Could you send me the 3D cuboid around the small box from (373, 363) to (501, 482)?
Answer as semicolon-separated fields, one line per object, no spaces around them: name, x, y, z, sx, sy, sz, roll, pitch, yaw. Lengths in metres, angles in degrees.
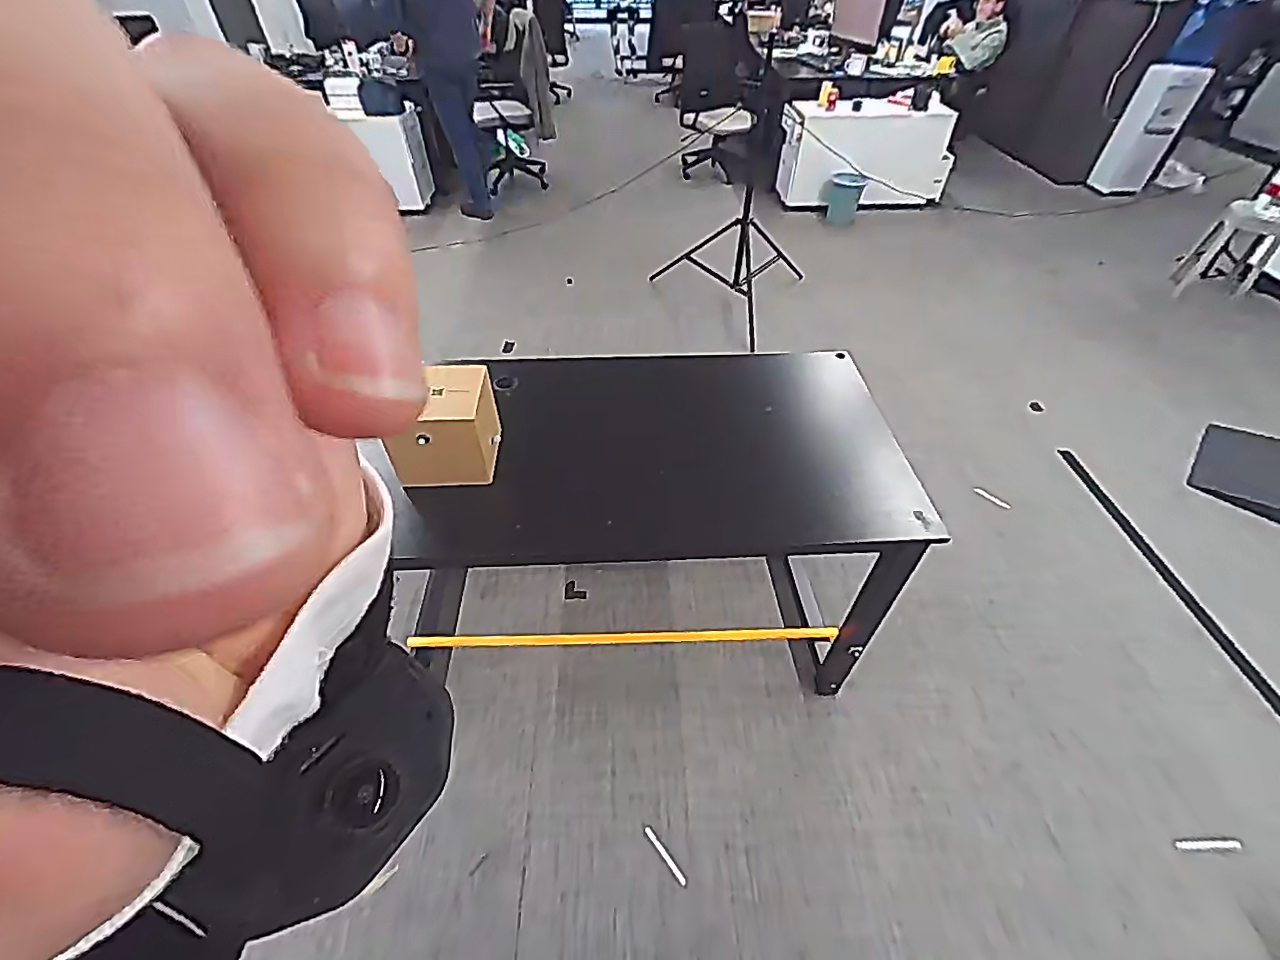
small box;-0.378;-0.108;1.044;0.179;0.176;0.168;-2;46;-3
